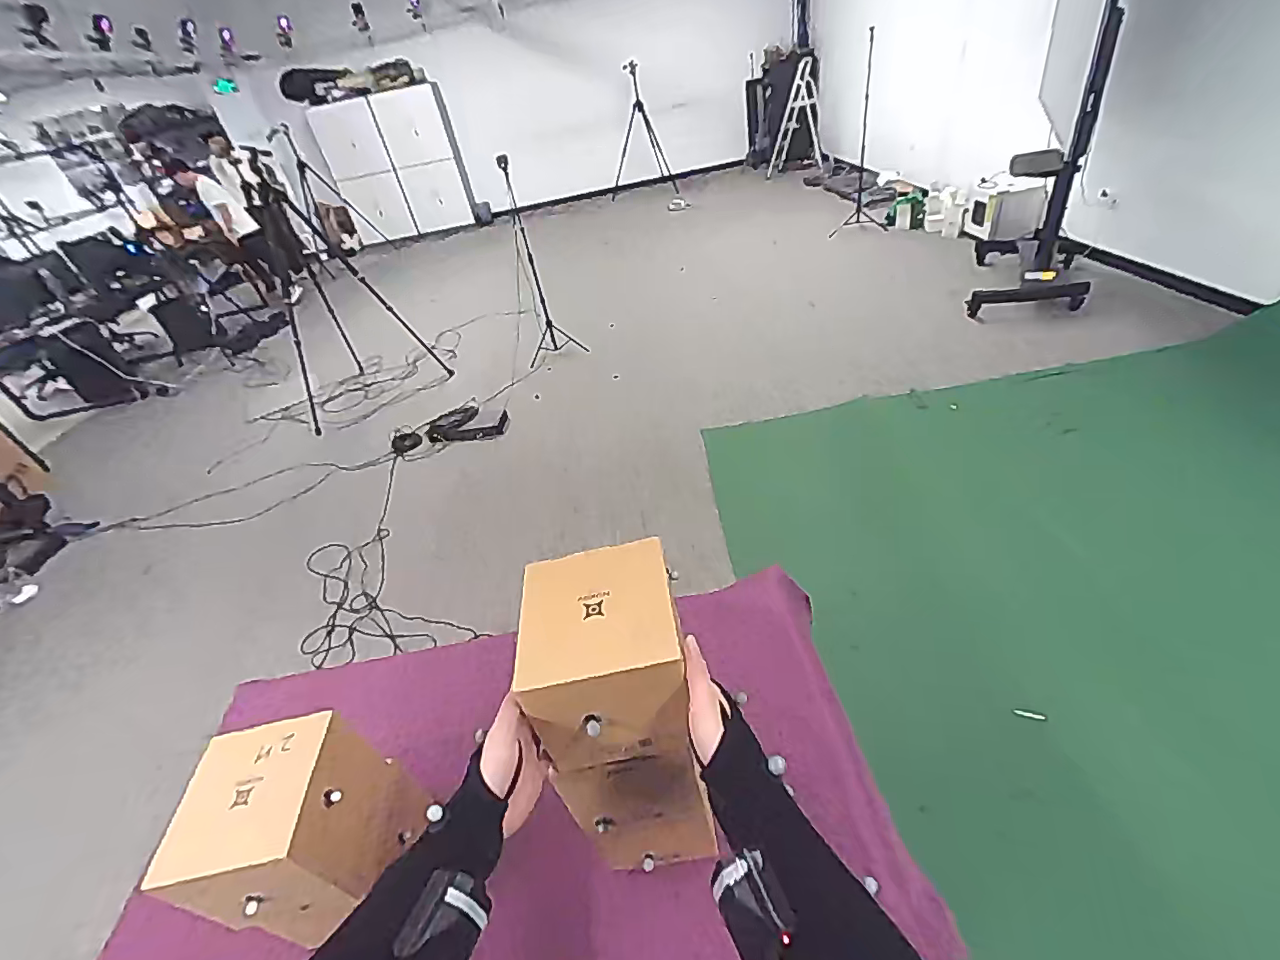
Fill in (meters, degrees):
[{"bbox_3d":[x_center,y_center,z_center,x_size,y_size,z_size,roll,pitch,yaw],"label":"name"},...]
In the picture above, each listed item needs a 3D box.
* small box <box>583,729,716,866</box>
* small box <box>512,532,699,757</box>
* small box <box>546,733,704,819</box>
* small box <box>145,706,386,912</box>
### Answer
[{"bbox_3d":[0.015,0.446,0.817,0.168,0.176,0.179,-11,38,4],"label":"small box"},{"bbox_3d":[-0.034,0.192,0.620,0.168,0.176,0.179,-13,36,2],"label":"small box"},{"bbox_3d":[-0.016,0.321,0.716,0.168,0.176,0.179,-12,36,3],"label":"small box"},{"bbox_3d":[-0.459,0.430,0.702,0.168,0.176,0.179,-12,38,0],"label":"small box"}]
